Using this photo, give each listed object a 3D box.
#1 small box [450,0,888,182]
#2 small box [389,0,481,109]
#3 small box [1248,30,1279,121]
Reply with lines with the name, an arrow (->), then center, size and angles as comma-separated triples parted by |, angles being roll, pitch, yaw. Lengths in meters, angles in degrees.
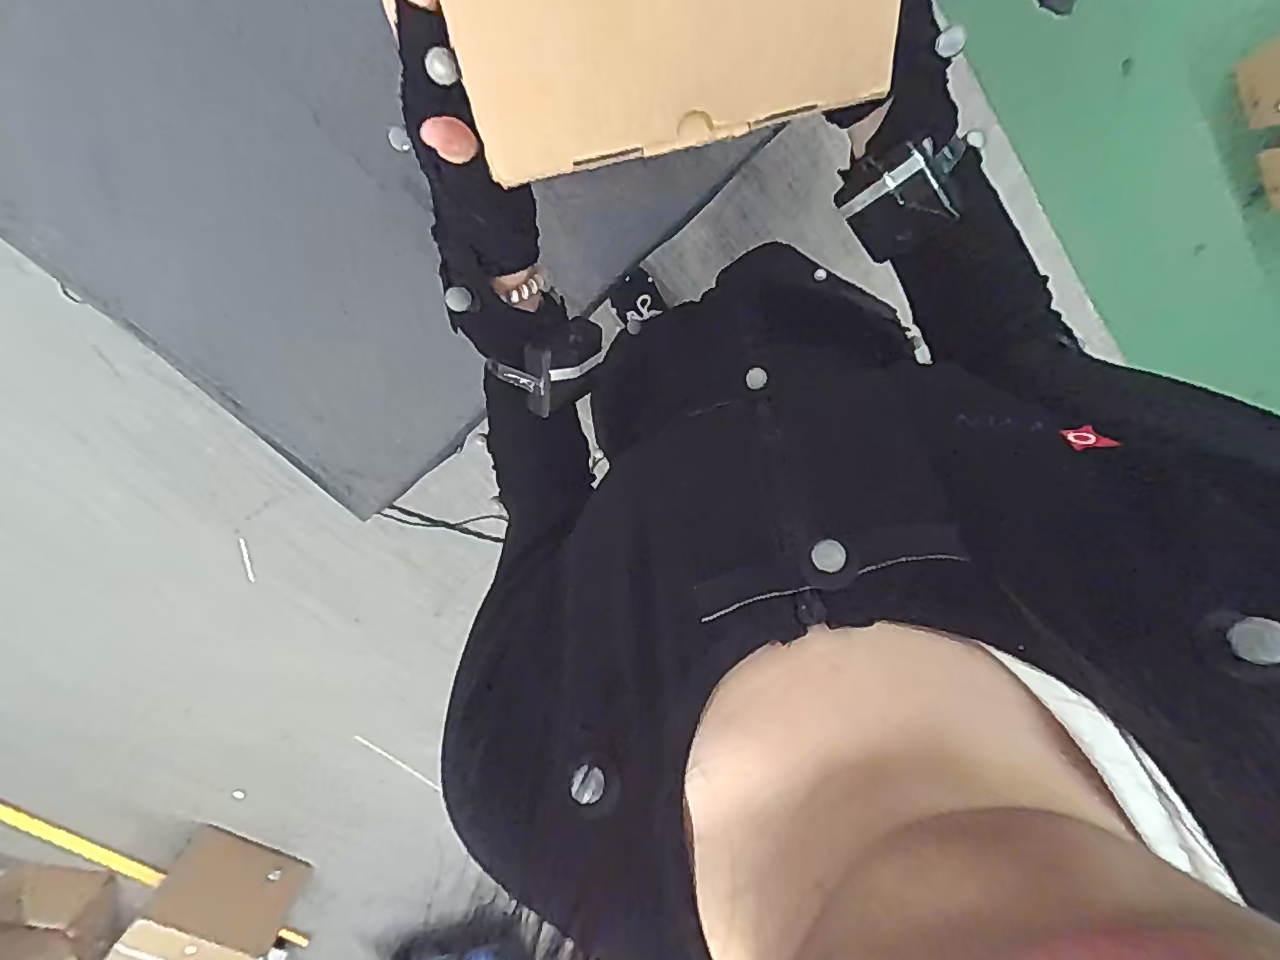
small box -> -0.007, -0.256, 0.230 | 0.168, 0.176, 0.179 | -14, 133, -2
small box -> -0.103, -0.424, 0.504 | 0.168, 0.176, 0.179 | -41, 106, 12
small box -> 1.477, -0.915, 1.157 | 0.179, 0.176, 0.168 | -35, 108, 11
